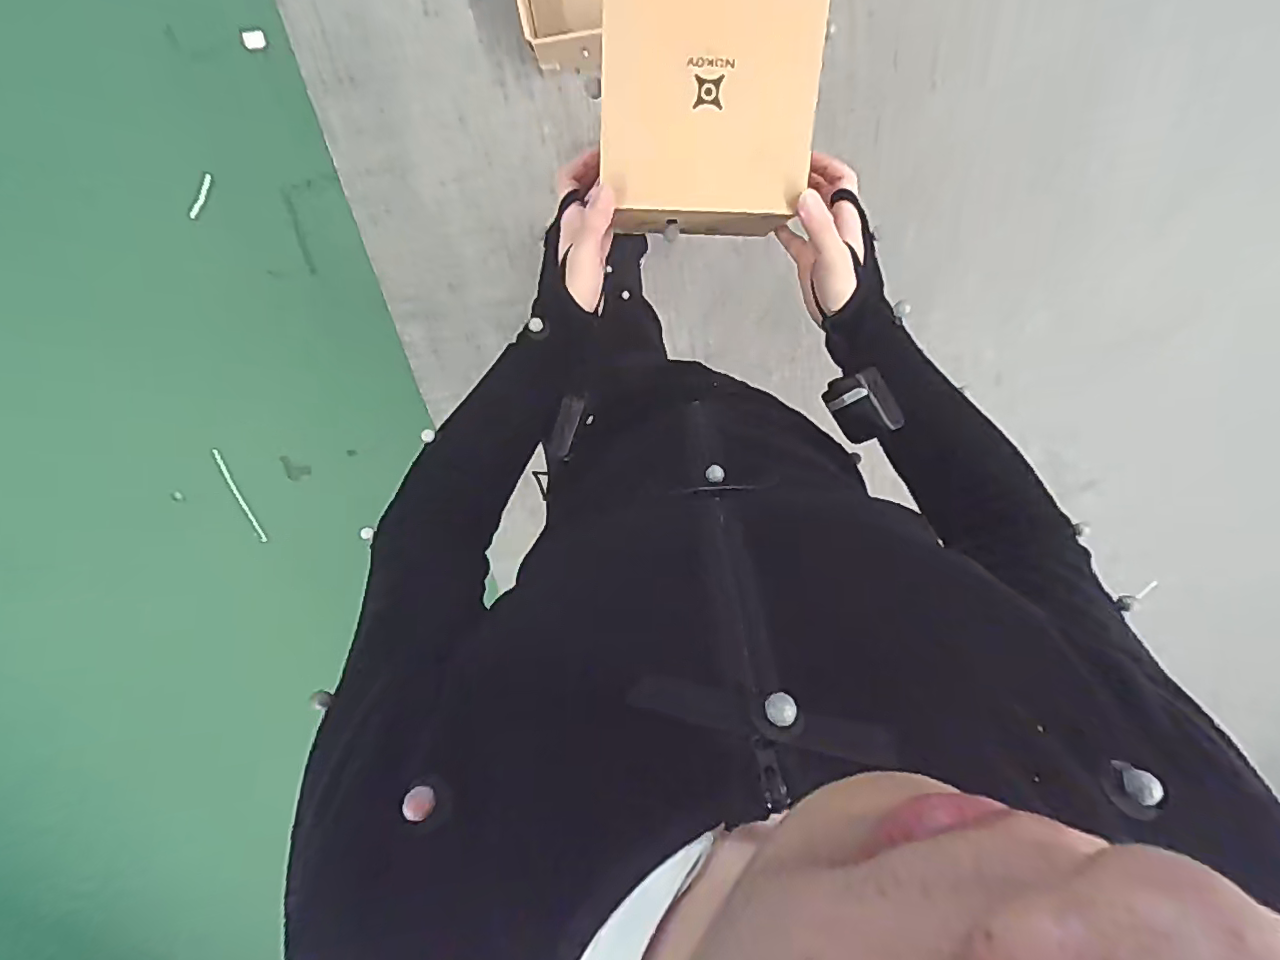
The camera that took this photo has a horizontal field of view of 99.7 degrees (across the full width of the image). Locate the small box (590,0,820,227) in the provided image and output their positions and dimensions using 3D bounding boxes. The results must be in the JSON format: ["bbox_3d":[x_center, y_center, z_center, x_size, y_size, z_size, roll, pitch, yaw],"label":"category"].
[{"bbox_3d":[0.051,-0.331,0.478,0.168,0.176,0.179,3,107,2],"label":"small box"}]
